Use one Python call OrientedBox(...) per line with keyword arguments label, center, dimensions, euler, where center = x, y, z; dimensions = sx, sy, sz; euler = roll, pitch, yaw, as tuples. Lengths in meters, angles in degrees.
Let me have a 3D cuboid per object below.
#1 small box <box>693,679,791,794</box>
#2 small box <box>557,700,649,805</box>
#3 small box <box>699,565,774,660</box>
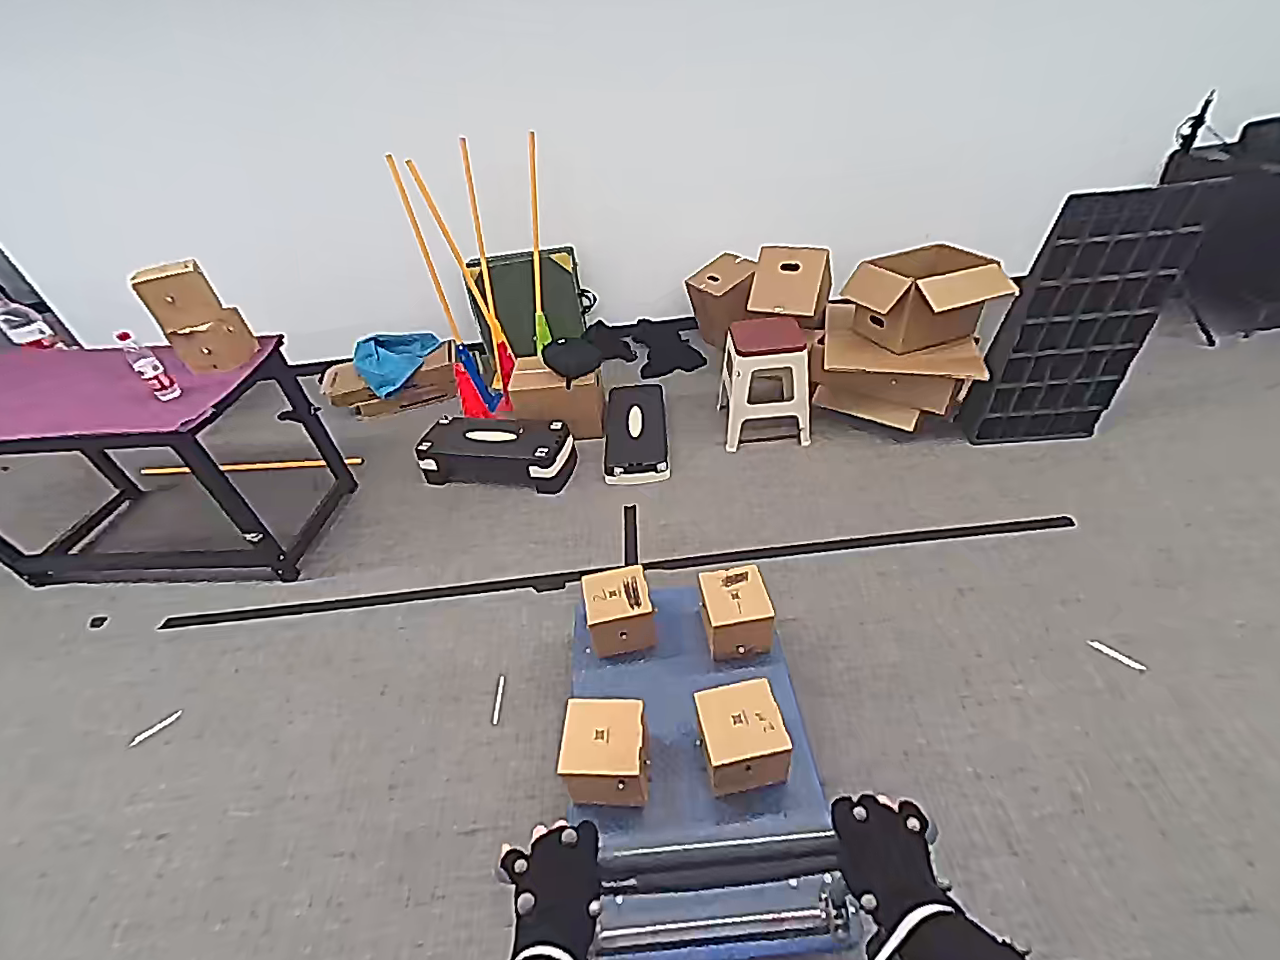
OrientedBox(label="small box", center=(0.226, 0.582, 1.220), dimensions=(0.179, 0.176, 0.168), euler=(-11, 40, -3))
OrientedBox(label="small box", center=(-0.077, 0.619, 1.226), dimensions=(0.179, 0.176, 0.168), euler=(-2, 41, 5))
OrientedBox(label="small box", center=(0.256, 0.361, 1.474), dimensions=(0.168, 0.176, 0.179), euler=(-9, 41, -2))
